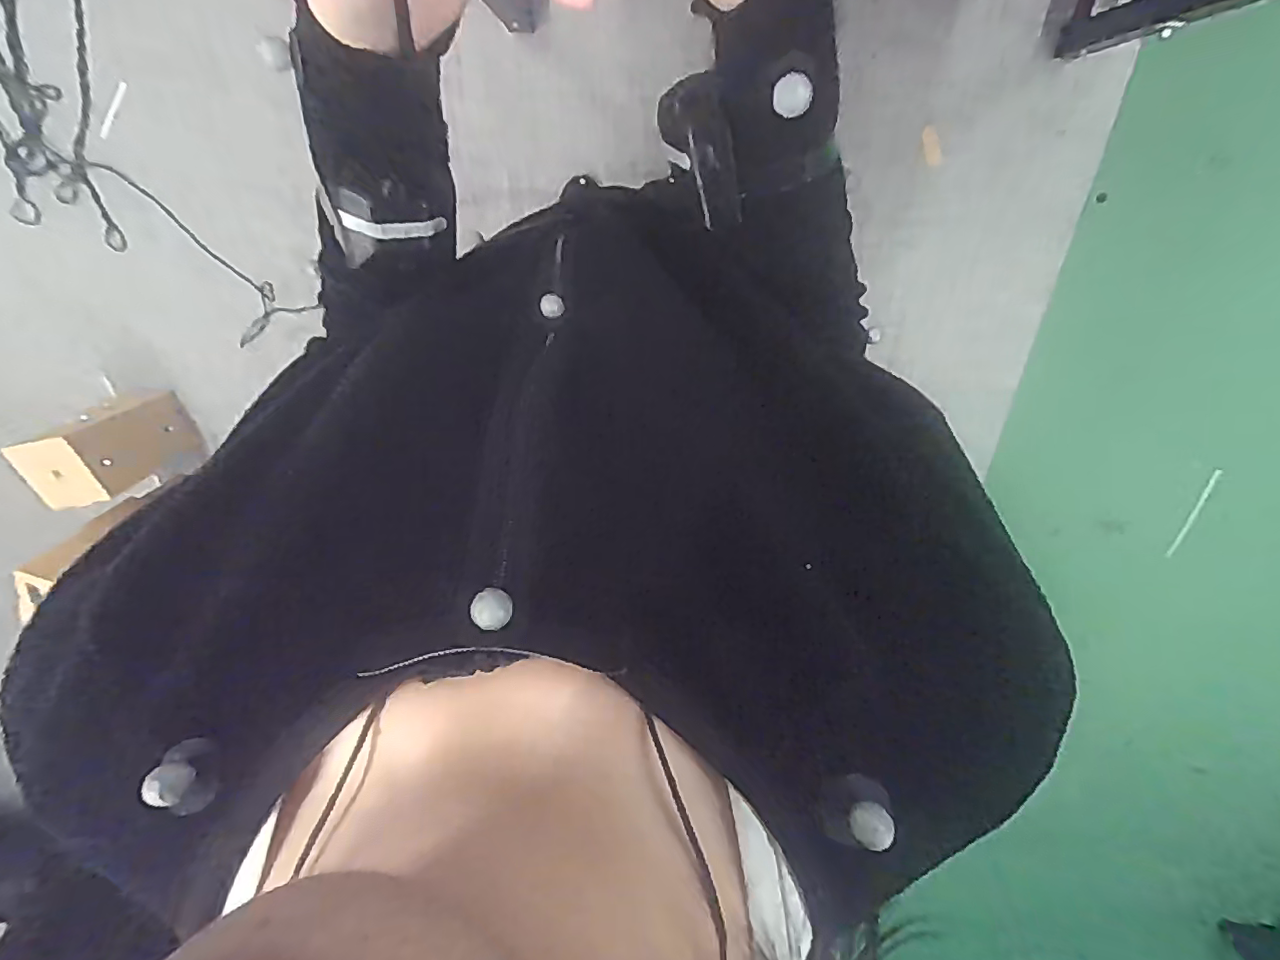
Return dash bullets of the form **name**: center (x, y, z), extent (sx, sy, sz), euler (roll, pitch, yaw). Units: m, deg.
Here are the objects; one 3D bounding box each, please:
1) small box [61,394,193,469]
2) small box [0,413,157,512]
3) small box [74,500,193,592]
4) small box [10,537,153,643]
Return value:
- **small box**: center (-1.387, -0.129, 1.483), extent (0.179, 0.176, 0.168), euler (-5, 118, 4)
- **small box**: center (-1.376, -0.046, 1.343), extent (0.168, 0.176, 0.179), euler (-10, 118, 5)
- **small box**: center (-1.363, 0.183, 1.470), extent (0.168, 0.176, 0.179), euler (17, 116, -7)
- **small box**: center (-1.358, 0.262, 1.325), extent (0.179, 0.176, 0.168), euler (21, 116, -10)
